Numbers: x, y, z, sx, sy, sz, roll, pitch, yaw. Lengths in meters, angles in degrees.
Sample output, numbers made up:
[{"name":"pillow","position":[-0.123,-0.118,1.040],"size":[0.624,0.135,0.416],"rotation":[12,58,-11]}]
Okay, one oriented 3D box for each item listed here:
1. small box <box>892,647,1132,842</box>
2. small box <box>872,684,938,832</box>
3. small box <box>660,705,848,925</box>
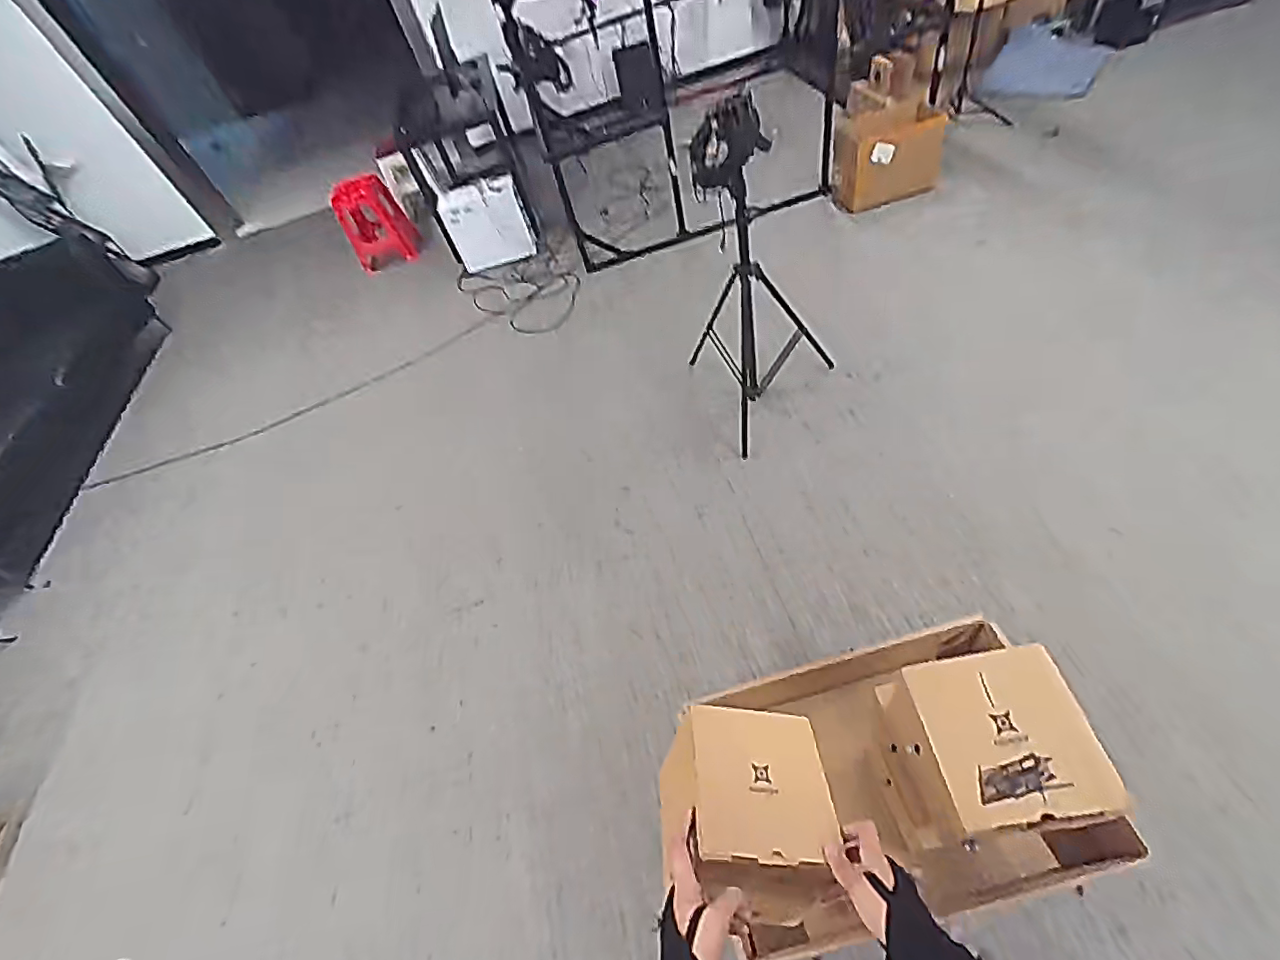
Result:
[{"name":"small box","position":[0.426,0.329,0.658],"size":[0.168,0.176,0.179],"rotation":[-14,50,9]},{"name":"small box","position":[0.462,0.401,0.806],"size":[0.168,0.176,0.179],"rotation":[-18,51,6]},{"name":"small box","position":[0.124,0.414,0.674],"size":[0.168,0.176,0.179],"rotation":[9,34,-8]}]
